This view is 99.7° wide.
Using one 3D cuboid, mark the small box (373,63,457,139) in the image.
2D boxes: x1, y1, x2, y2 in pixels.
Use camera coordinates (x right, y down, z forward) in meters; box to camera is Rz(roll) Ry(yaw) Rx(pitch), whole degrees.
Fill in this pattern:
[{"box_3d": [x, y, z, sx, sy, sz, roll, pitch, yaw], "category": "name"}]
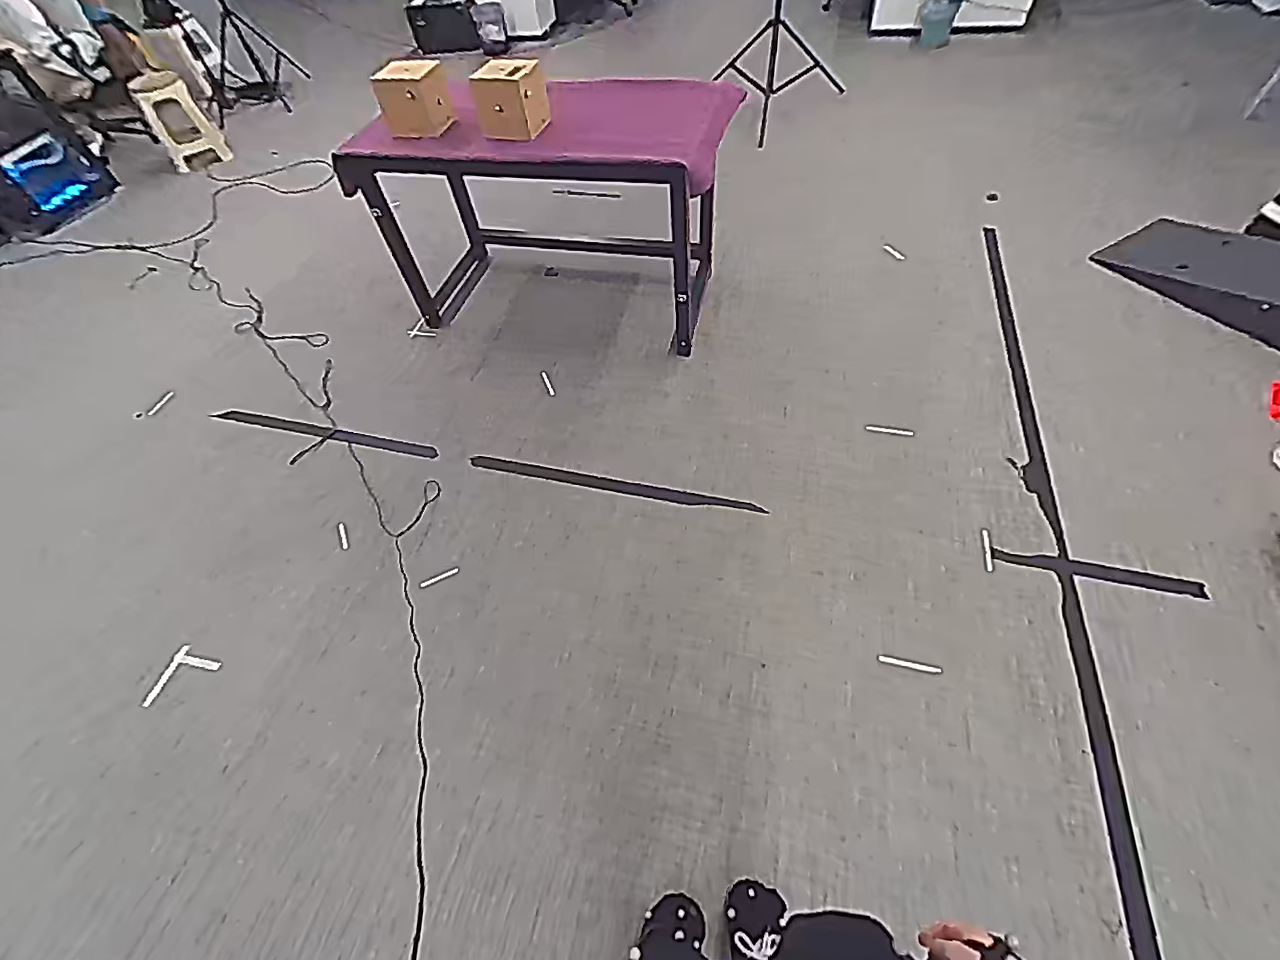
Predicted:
[{"box_3d": [-0.738, -1.256, 1.798, 0.179, 0.176, 0.168, 7, 54, 11], "category": "small box"}]
